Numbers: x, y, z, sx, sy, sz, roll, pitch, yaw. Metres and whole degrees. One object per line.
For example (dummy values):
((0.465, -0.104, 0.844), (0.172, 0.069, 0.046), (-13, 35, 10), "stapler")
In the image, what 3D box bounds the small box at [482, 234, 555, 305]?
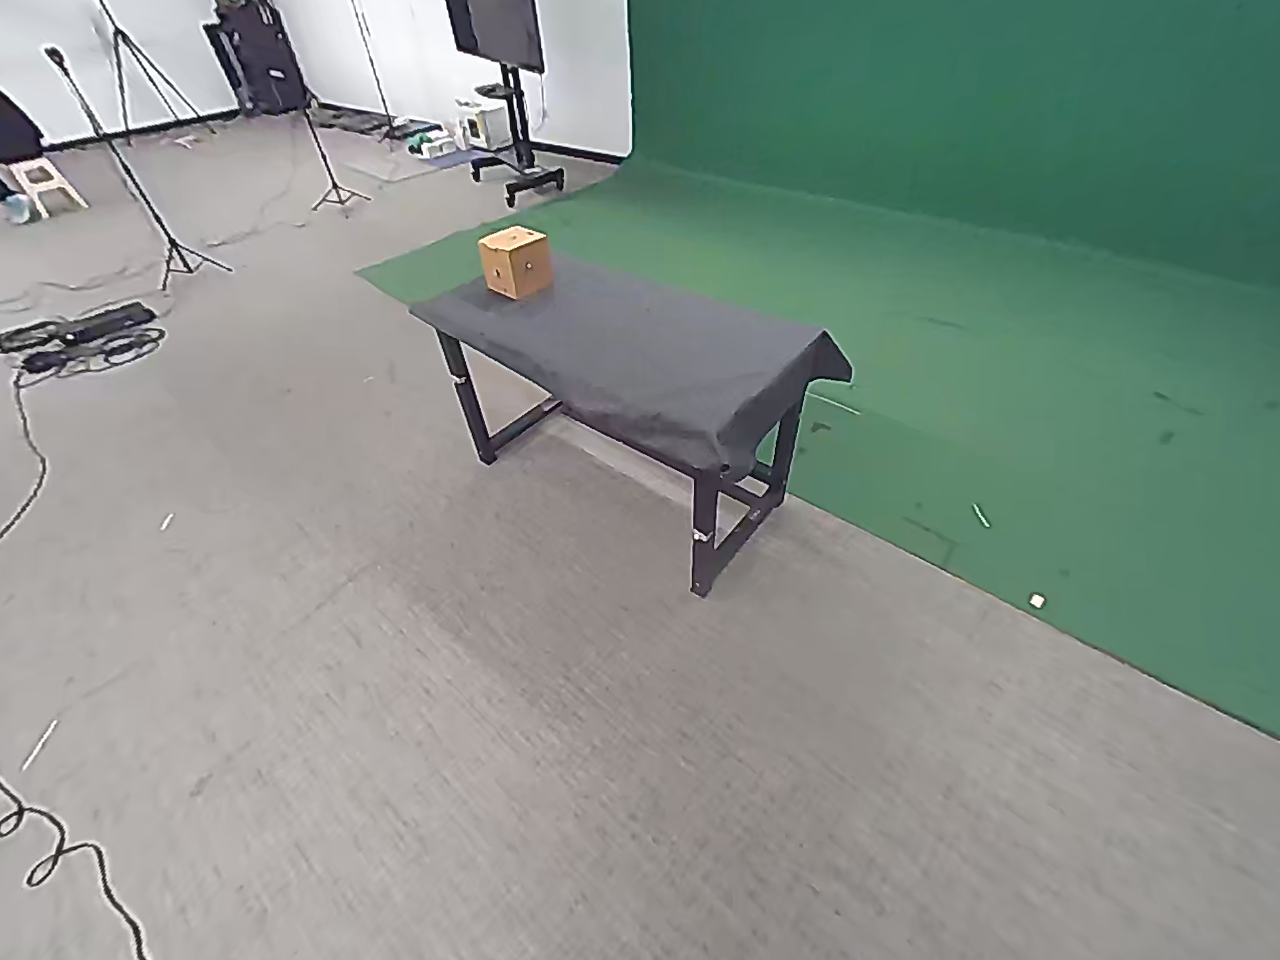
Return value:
((-0.418, -0.738, 1.898), (0.168, 0.176, 0.179), (30, 54, 29), "small box")
